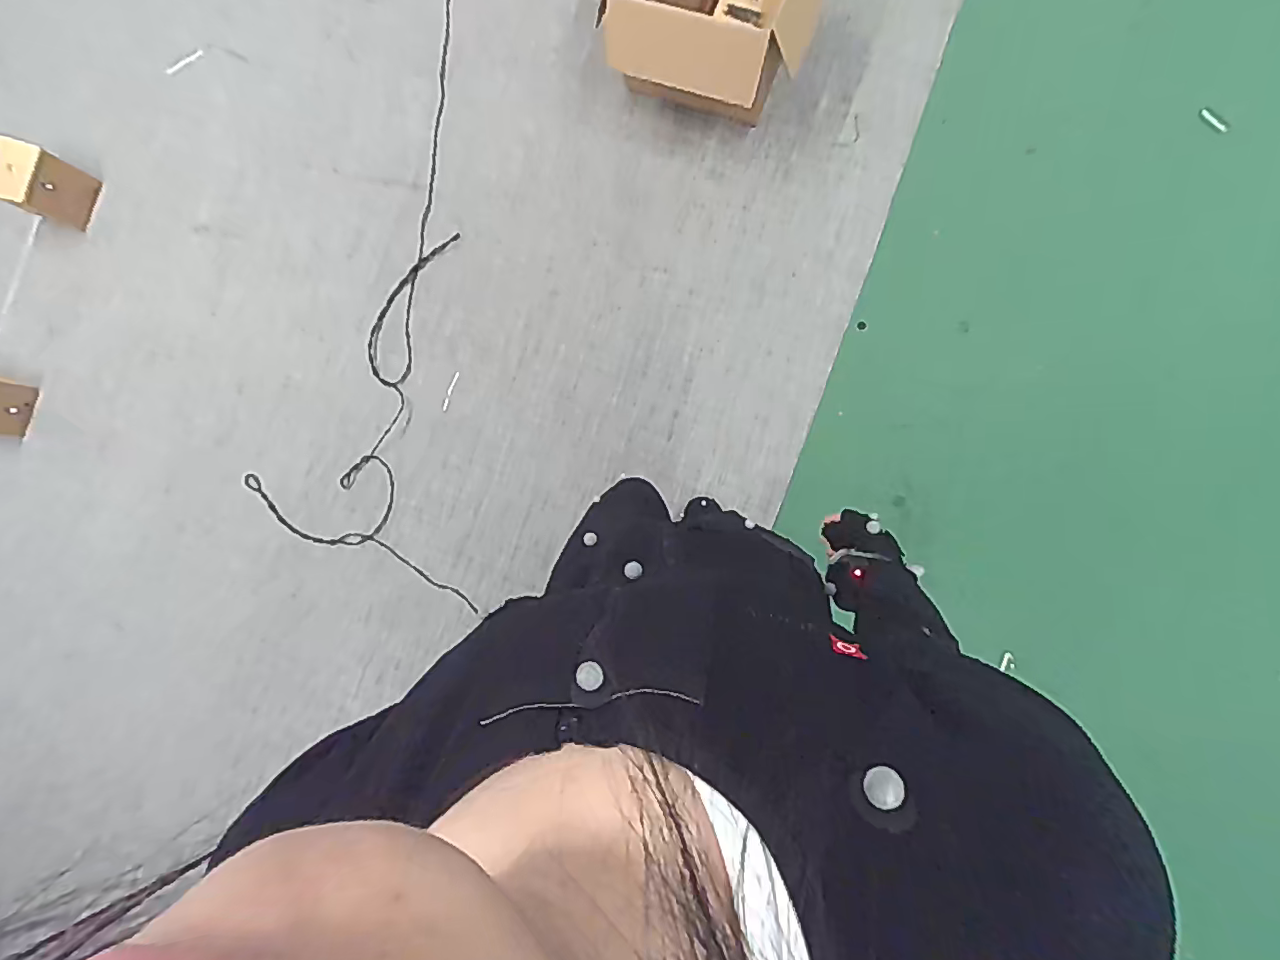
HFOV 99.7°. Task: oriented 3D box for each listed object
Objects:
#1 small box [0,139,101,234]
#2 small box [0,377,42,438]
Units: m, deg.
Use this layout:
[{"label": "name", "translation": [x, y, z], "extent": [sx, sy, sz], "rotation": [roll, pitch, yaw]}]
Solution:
[{"label": "small box", "translation": [-1.816, -0.888, 1.650], "extent": [0.168, 0.176, 0.179], "rotation": [18, 90, 6]}, {"label": "small box", "translation": [-2.015, -0.233, 1.650], "extent": [0.179, 0.176, 0.168], "rotation": [18, 90, 7]}]
